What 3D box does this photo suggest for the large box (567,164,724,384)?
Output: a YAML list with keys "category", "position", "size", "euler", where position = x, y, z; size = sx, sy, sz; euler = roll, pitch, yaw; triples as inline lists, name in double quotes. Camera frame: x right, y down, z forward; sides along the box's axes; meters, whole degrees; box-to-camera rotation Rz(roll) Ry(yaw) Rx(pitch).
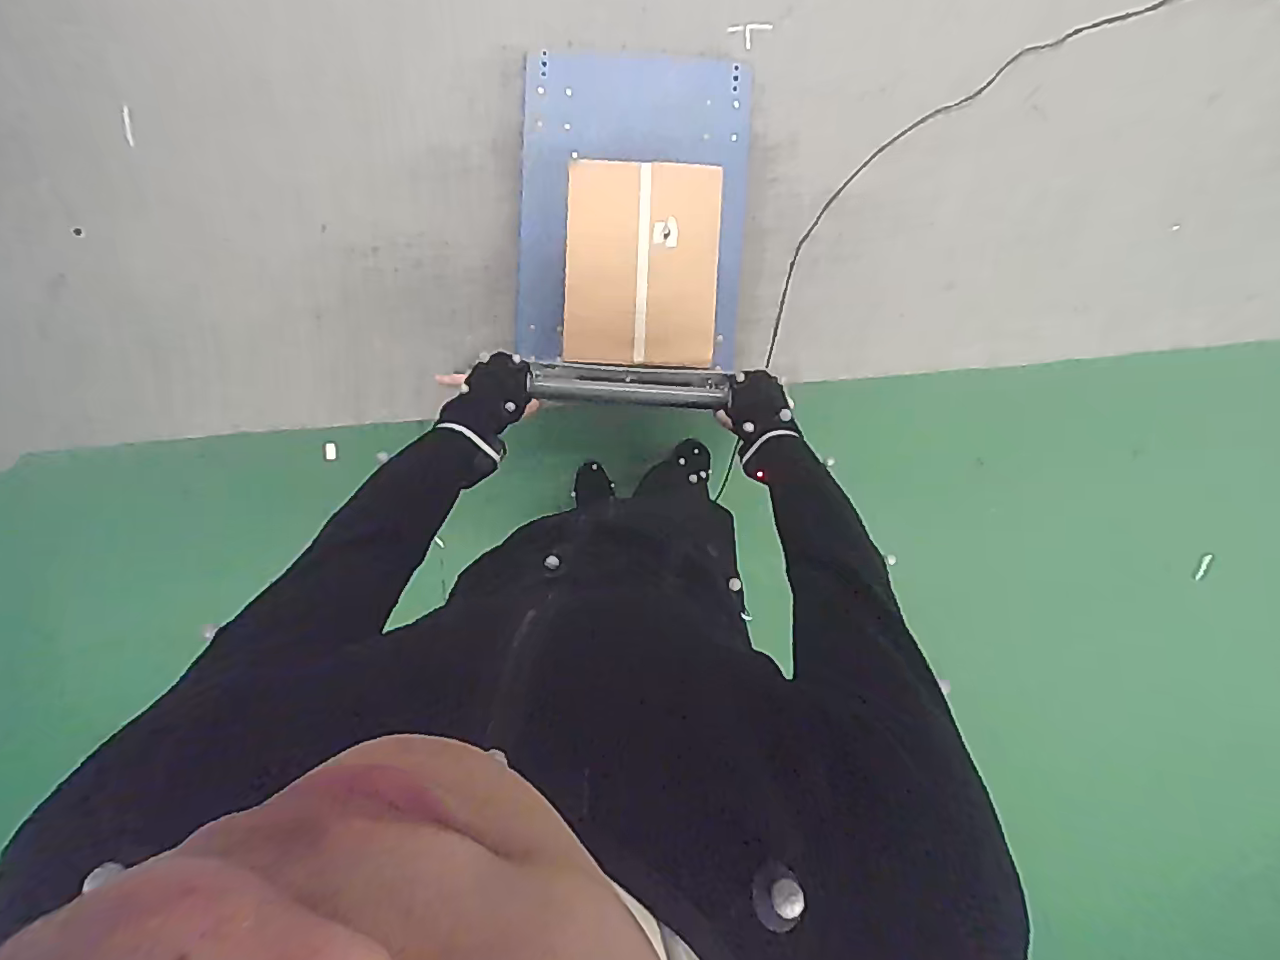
- category: "large box"
  position: [0.008, -0.439, 1.245]
  size: [0.320, 0.320, 0.408]
  euler: [2, 95, -2]
